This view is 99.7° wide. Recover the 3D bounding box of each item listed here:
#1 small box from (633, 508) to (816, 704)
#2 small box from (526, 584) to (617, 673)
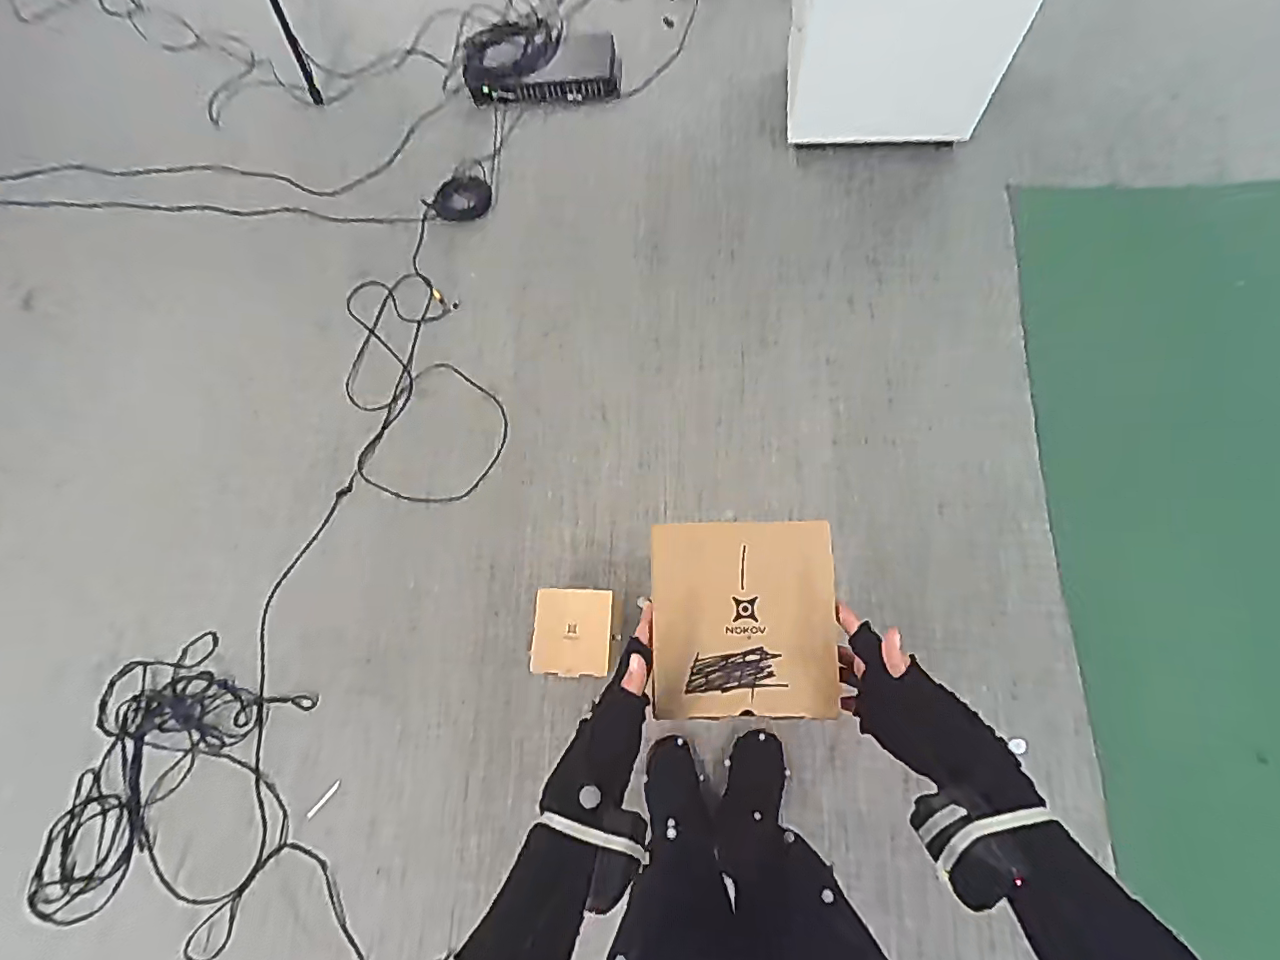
[{"bbox_3d":[0.079,0.121,0.570,0.168,0.176,0.179,0,83,2],"label":"small box"},{"bbox_3d":[-0.145,0.336,1.218,0.168,0.176,0.179,1,73,6],"label":"small box"}]
